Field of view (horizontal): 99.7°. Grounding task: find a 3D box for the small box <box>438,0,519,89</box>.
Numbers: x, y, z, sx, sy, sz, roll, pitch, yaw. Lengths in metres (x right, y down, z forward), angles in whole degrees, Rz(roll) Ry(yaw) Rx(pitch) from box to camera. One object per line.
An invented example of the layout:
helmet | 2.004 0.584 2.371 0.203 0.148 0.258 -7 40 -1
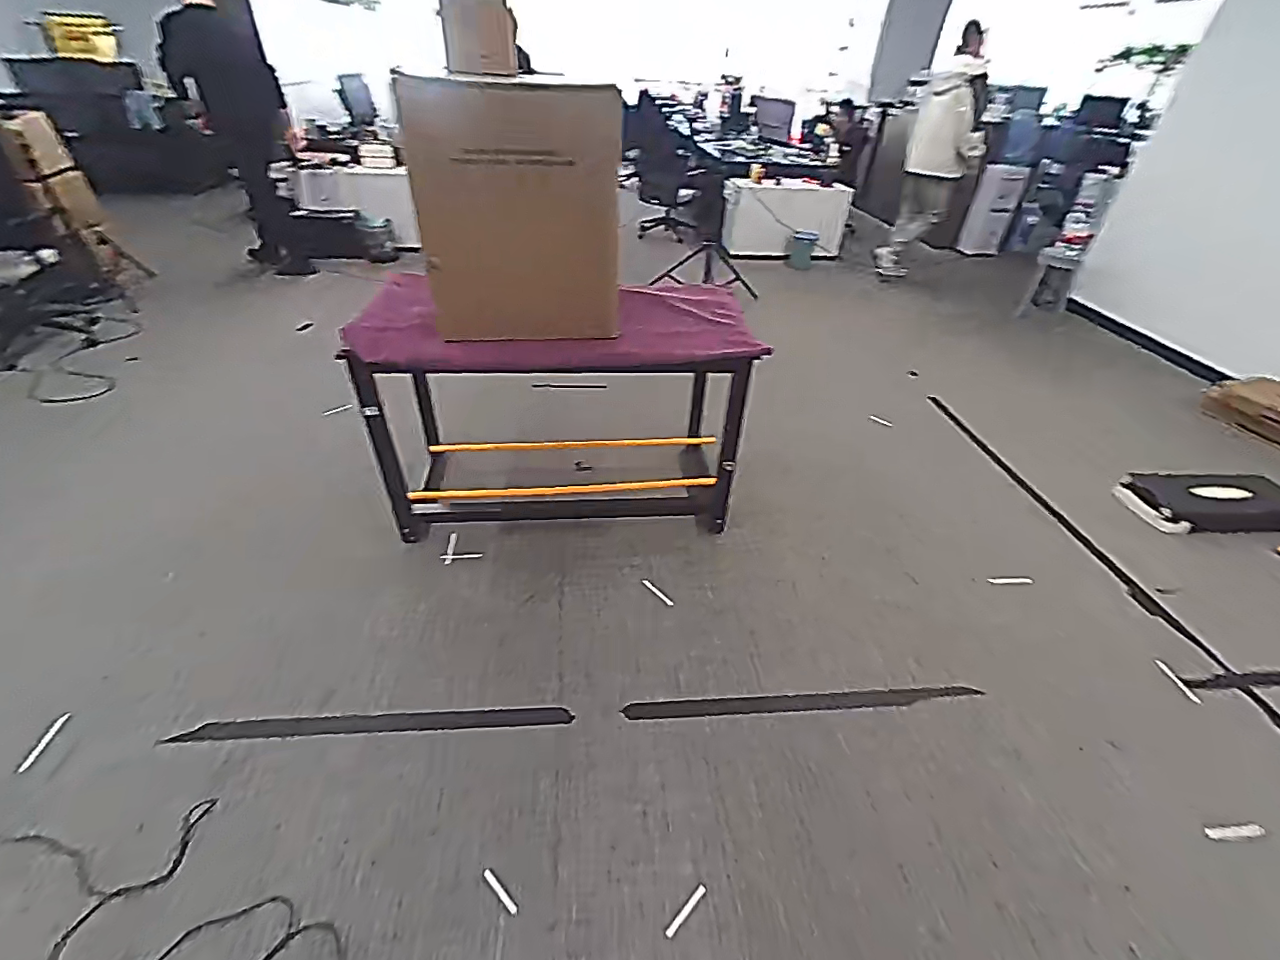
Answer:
small box | -0.409 -1.122 1.395 0.179 0.176 0.168 -3 38 -10
